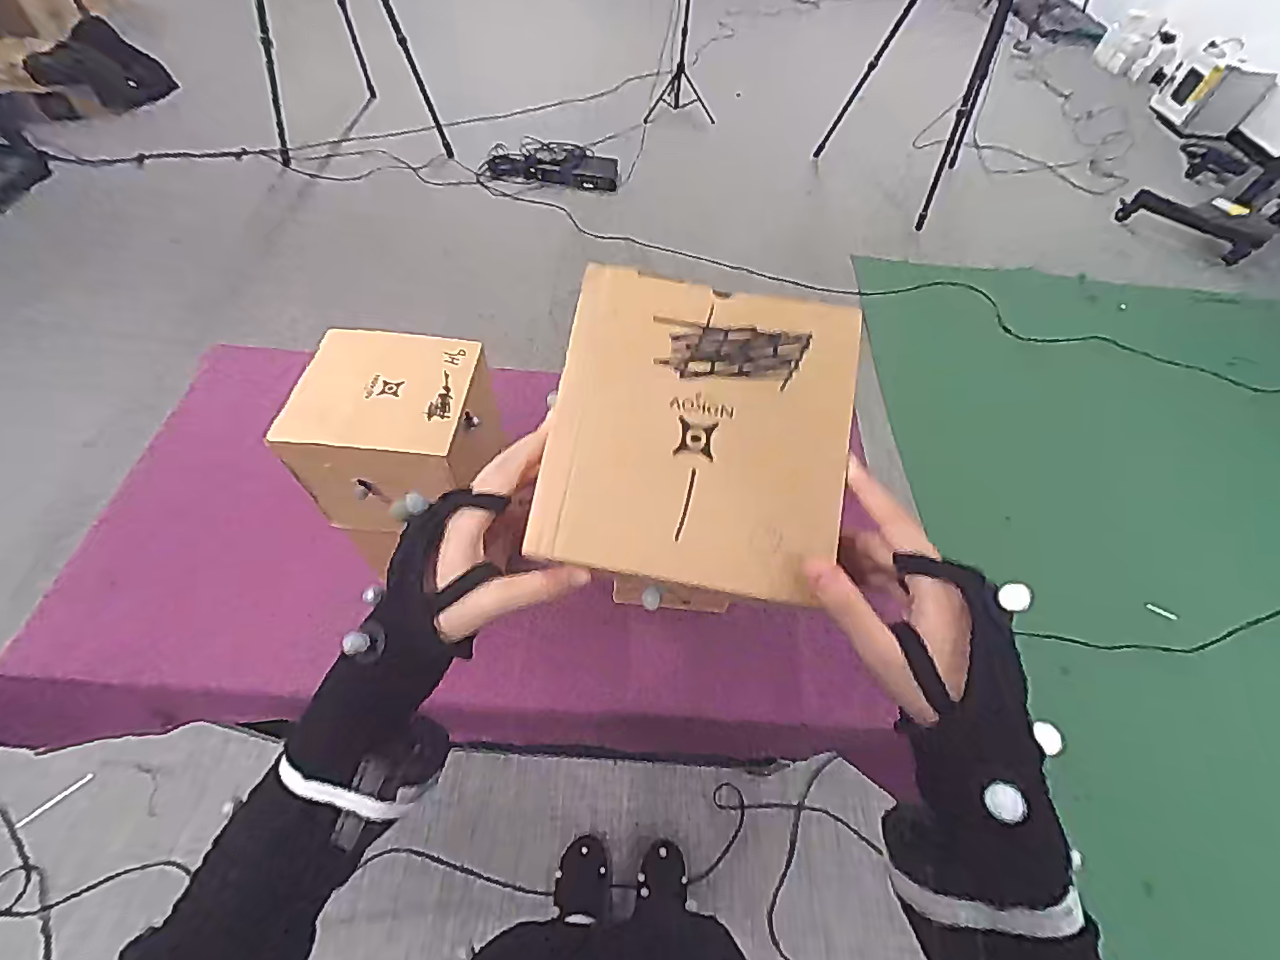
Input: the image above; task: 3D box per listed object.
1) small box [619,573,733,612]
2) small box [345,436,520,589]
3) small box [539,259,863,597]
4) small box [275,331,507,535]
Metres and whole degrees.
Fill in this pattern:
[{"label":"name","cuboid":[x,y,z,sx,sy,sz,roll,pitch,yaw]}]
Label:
[{"label":"small box","cuboid":[0.059,0.075,0.776,0.168,0.176,0.179,6,54,-1]},{"label":"small box","cuboid":[-0.274,0.044,0.768,0.179,0.176,0.168,5,54,-1]},{"label":"small box","cuboid":[0.039,-0.019,0.383,0.168,0.176,0.179,10,77,3]},{"label":"small box","cuboid":[-0.267,-0.049,0.632,0.179,0.176,0.168,5,54,-1]}]
